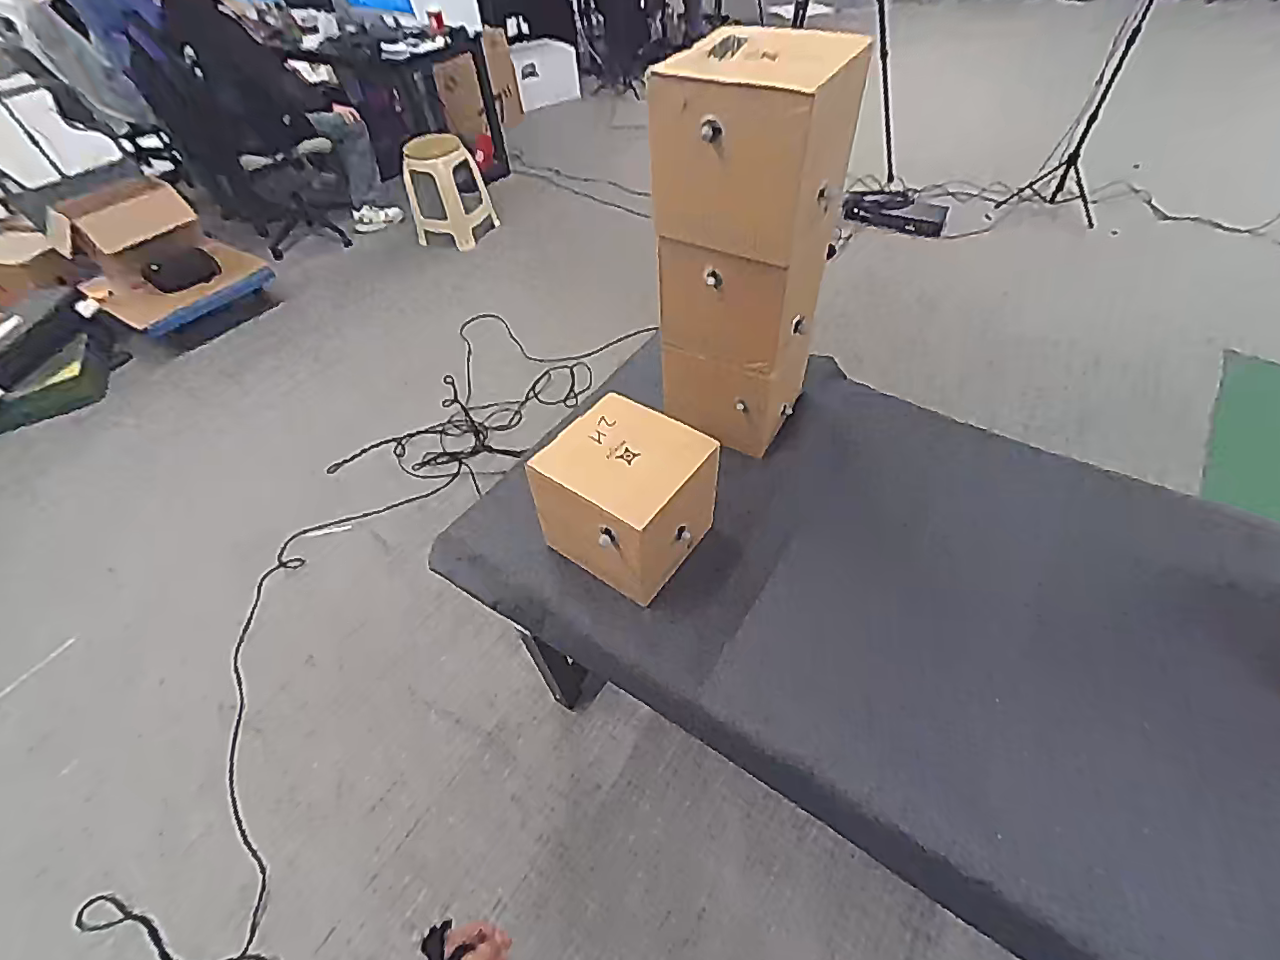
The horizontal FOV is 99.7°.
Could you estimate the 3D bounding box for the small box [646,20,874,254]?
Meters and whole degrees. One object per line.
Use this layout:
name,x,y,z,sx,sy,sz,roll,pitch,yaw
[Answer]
small box,0.125,-0.377,0.598,0.179,0.176,0.168,25,59,22

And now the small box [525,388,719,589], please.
small box,-0.018,0.016,0.706,0.179,0.176,0.168,28,55,24

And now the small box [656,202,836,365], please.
small box,0.138,-0.282,0.733,0.179,0.176,0.168,24,58,20
